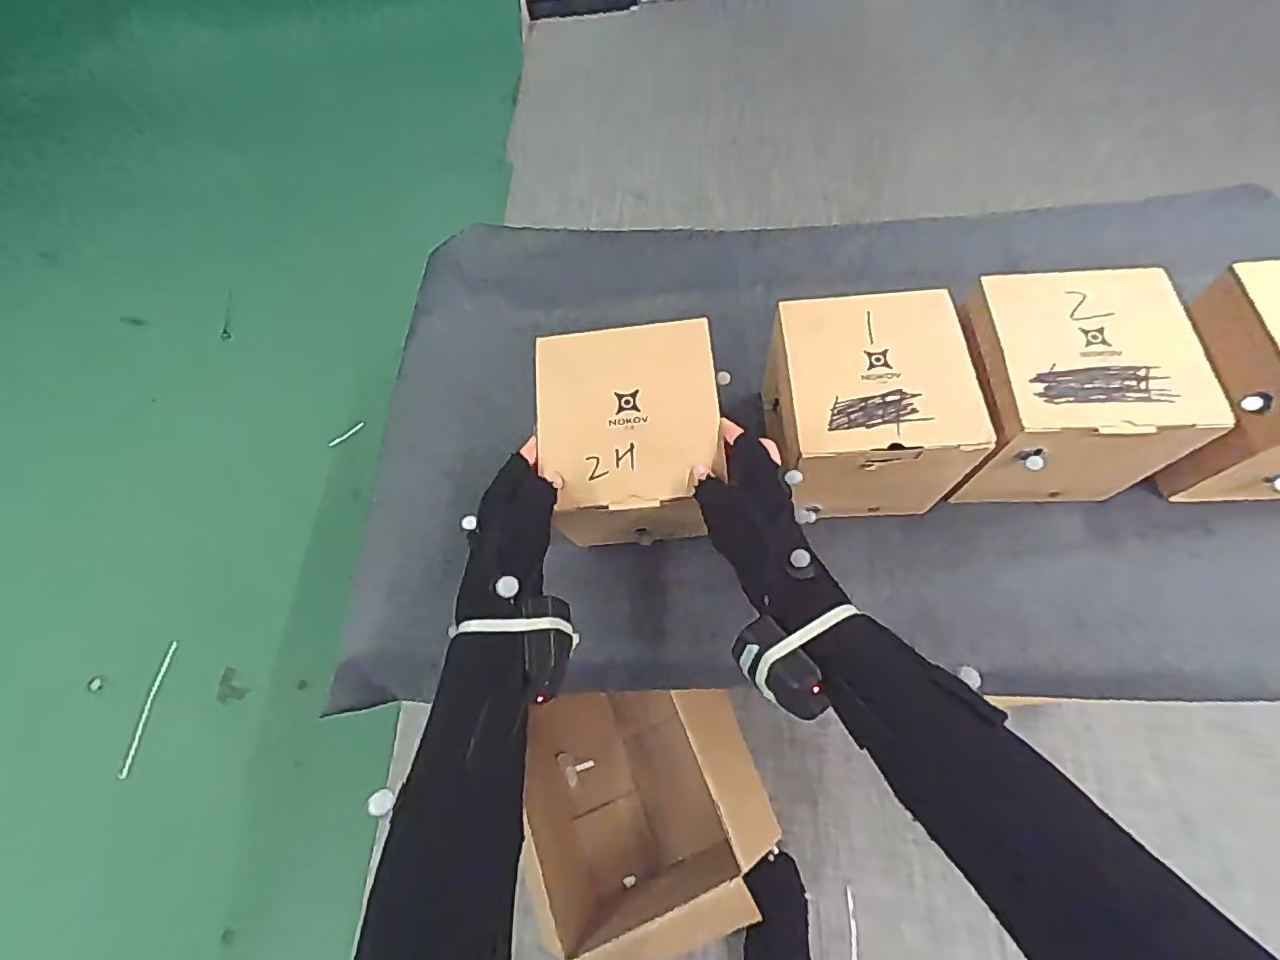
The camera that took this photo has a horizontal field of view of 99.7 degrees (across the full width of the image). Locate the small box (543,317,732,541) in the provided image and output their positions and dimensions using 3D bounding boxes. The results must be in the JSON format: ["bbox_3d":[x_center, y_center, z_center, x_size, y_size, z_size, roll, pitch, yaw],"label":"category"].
[{"bbox_3d":[0.000,-0.042,0.566,0.168,0.176,0.179,-6,74,5],"label":"small box"}]

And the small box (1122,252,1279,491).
[{"bbox_3d":[0.640,-0.102,0.535,0.168,0.176,0.179,-3,67,6],"label":"small box"}]
